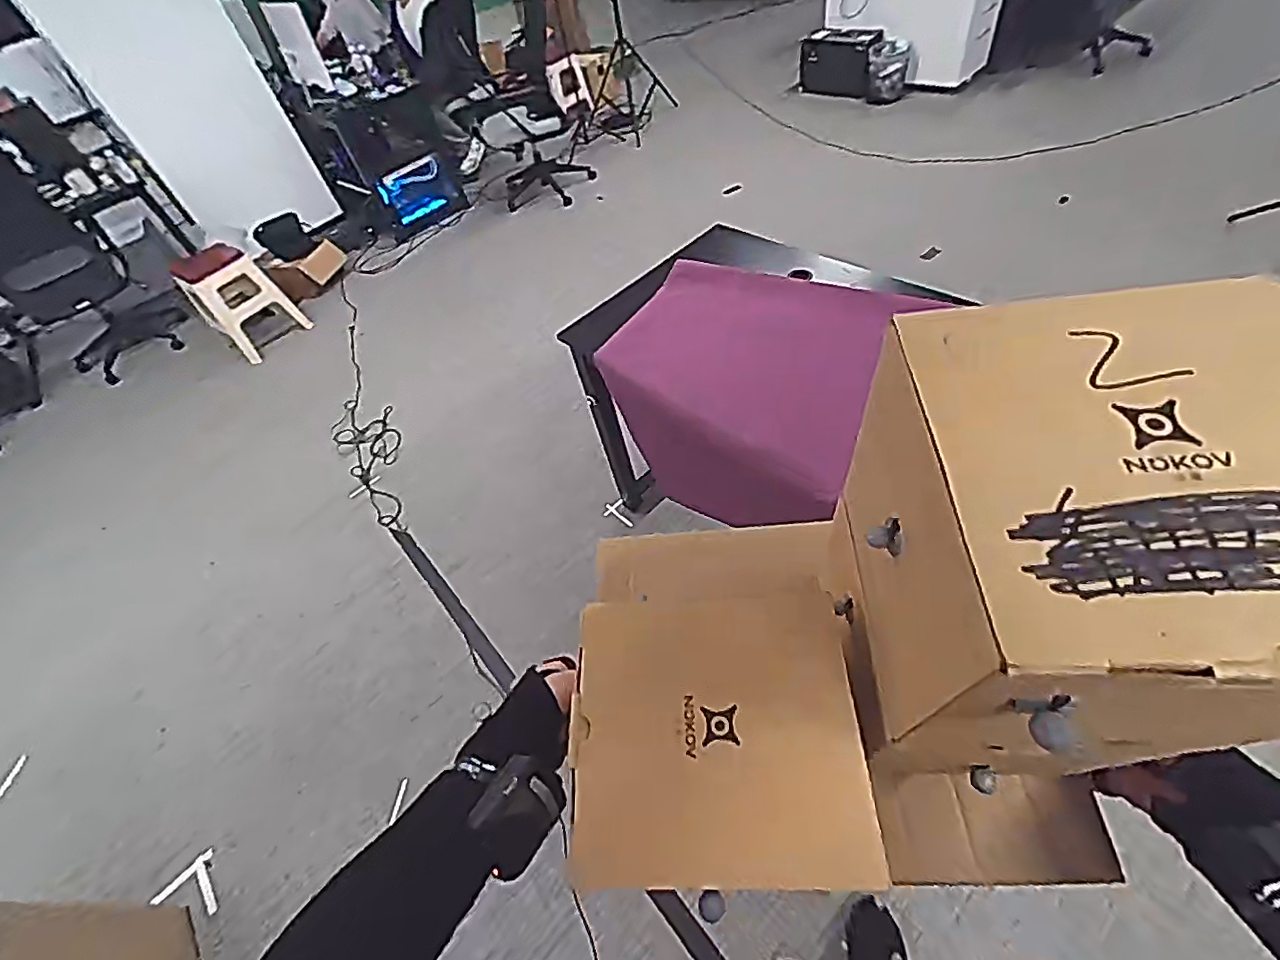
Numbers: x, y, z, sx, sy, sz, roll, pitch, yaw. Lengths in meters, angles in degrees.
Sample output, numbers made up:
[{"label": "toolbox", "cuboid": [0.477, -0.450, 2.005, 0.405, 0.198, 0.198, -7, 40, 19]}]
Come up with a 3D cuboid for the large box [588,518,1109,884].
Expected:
[{"label": "large box", "cuboid": [0.173, 0.256, 0.623, 0.408, 0.320, 0.320, -6, 55, 7]}]

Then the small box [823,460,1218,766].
[{"label": "small box", "cuboid": [0.242, 0.107, 0.410, 0.168, 0.176, 0.179, -5, 56, 9]}]
